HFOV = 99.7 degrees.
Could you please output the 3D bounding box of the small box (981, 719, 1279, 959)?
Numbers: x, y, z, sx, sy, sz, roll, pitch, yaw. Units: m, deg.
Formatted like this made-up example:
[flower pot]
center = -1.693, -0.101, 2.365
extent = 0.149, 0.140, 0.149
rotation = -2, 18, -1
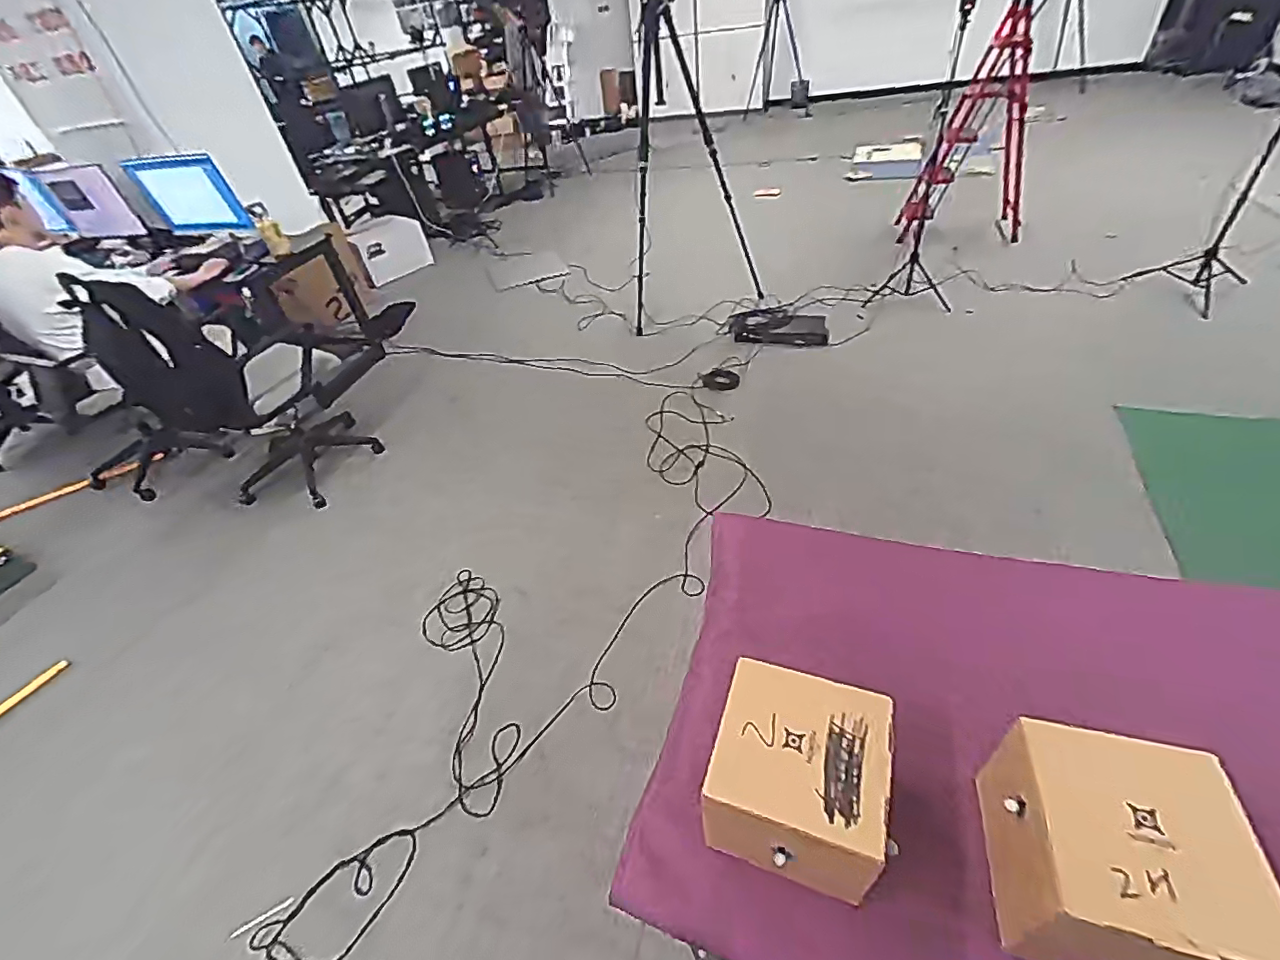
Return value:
[small box]
center = 0.463, 0.375, 0.537
extent = 0.168, 0.176, 0.179
rotation = 5, 42, 17
